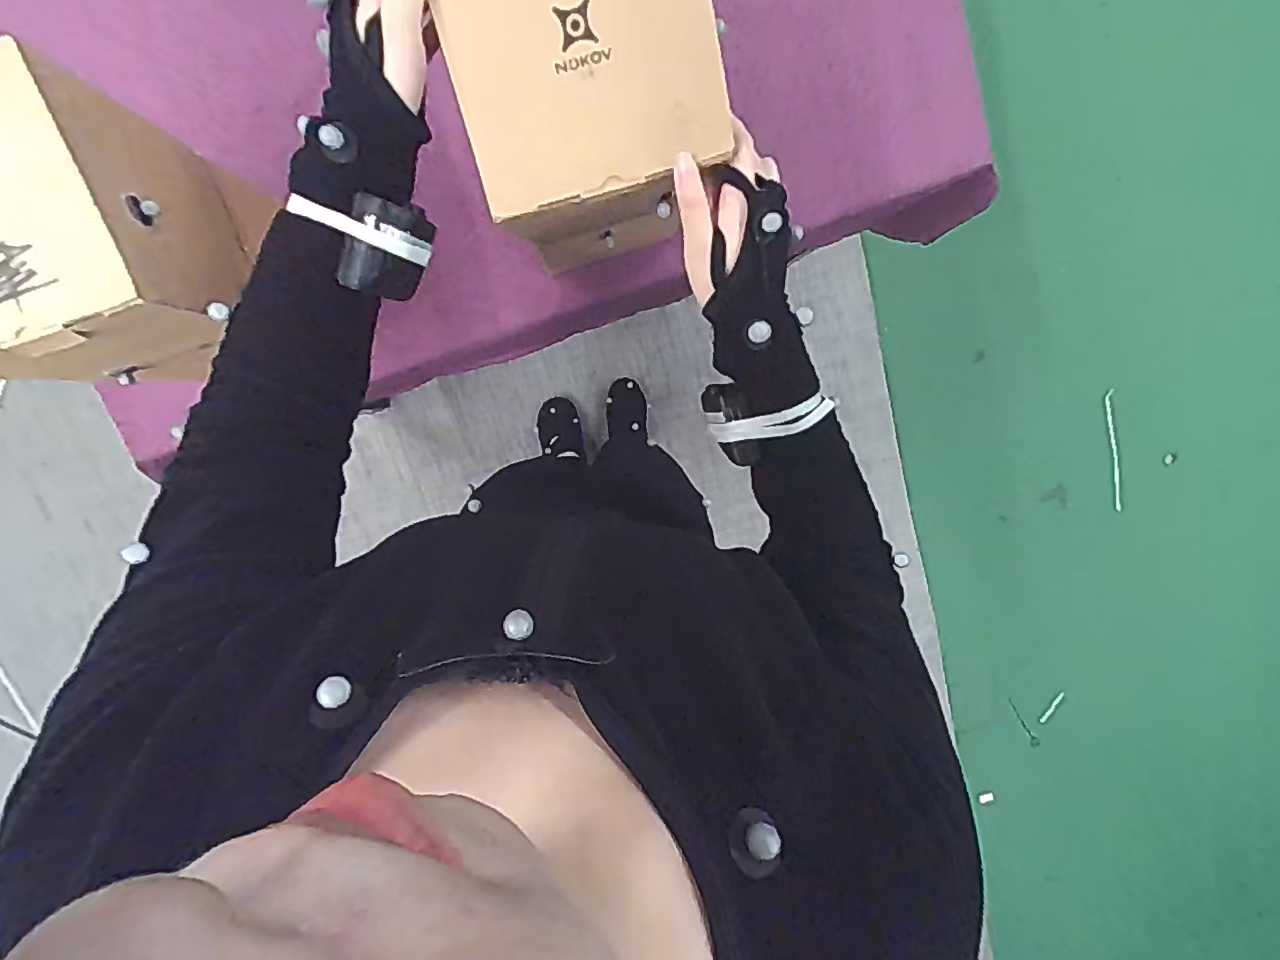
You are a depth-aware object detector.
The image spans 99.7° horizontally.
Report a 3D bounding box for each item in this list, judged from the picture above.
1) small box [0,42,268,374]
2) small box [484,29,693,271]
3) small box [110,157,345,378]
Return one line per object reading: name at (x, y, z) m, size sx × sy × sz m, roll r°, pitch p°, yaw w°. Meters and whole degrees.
small box at (-0.455, -0.191, 0.440) m, size 0.168 × 0.176 × 0.179 m, roll -20°, pitch 100°, yaw -3°
small box at (-0.055, -0.355, 0.619) m, size 0.179 × 0.176 × 0.168 m, roll -17°, pitch 102°, yaw -3°
small box at (-0.473, -0.216, 0.601) m, size 0.179 × 0.176 × 0.168 m, roll -20°, pitch 101°, yaw -4°
